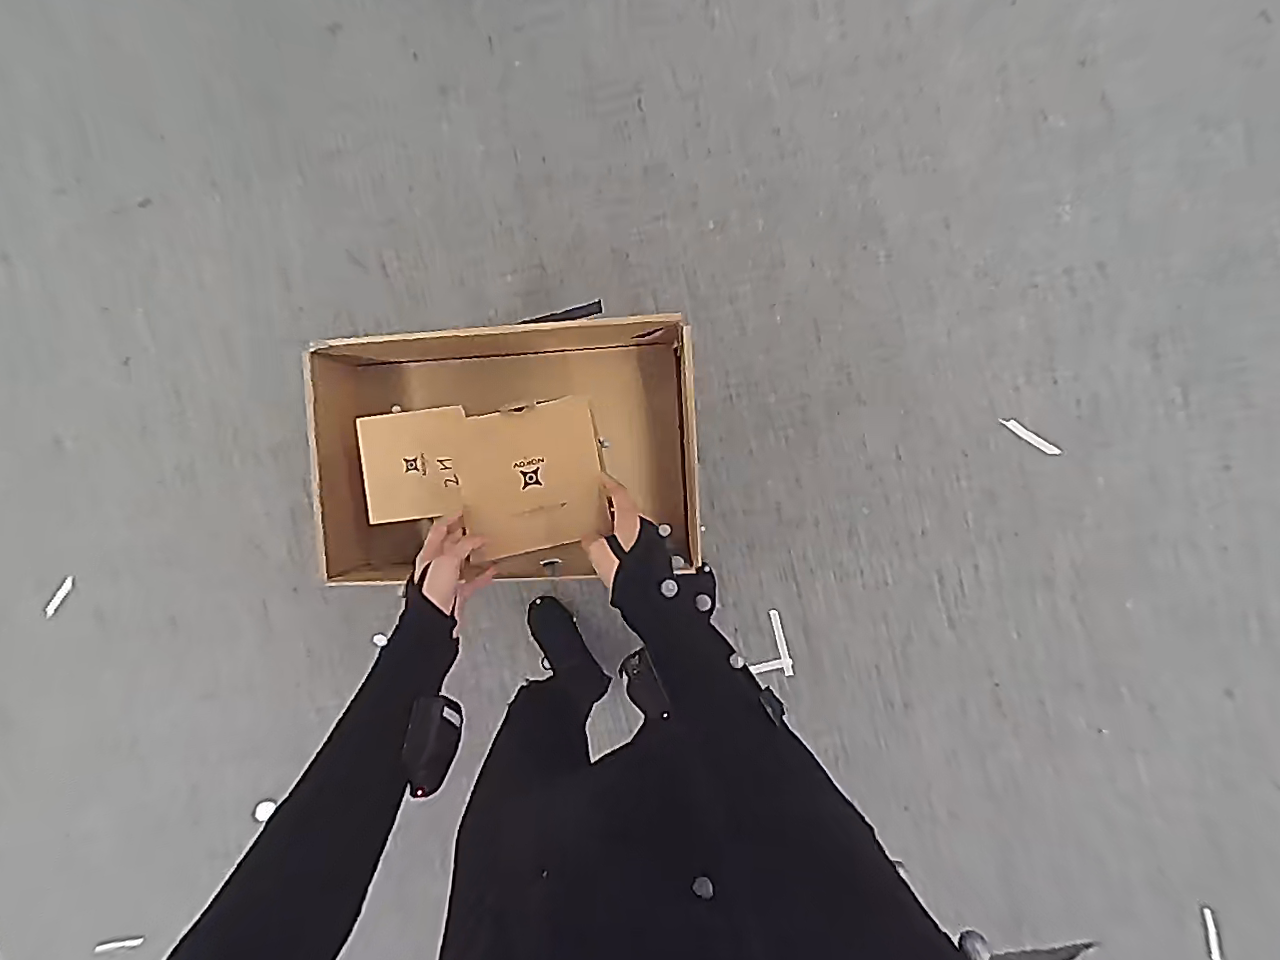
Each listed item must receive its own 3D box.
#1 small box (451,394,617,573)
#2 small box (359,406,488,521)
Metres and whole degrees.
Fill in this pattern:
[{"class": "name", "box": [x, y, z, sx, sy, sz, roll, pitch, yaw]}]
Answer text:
[{"class": "small box", "box": [-0.127, 0.014, 0.699, 0.168, 0.176, 0.179, -12, 76, -2]}, {"class": "small box", "box": [-0.331, -0.027, 0.901, 0.179, 0.176, 0.168, -6, 93, 3]}]
